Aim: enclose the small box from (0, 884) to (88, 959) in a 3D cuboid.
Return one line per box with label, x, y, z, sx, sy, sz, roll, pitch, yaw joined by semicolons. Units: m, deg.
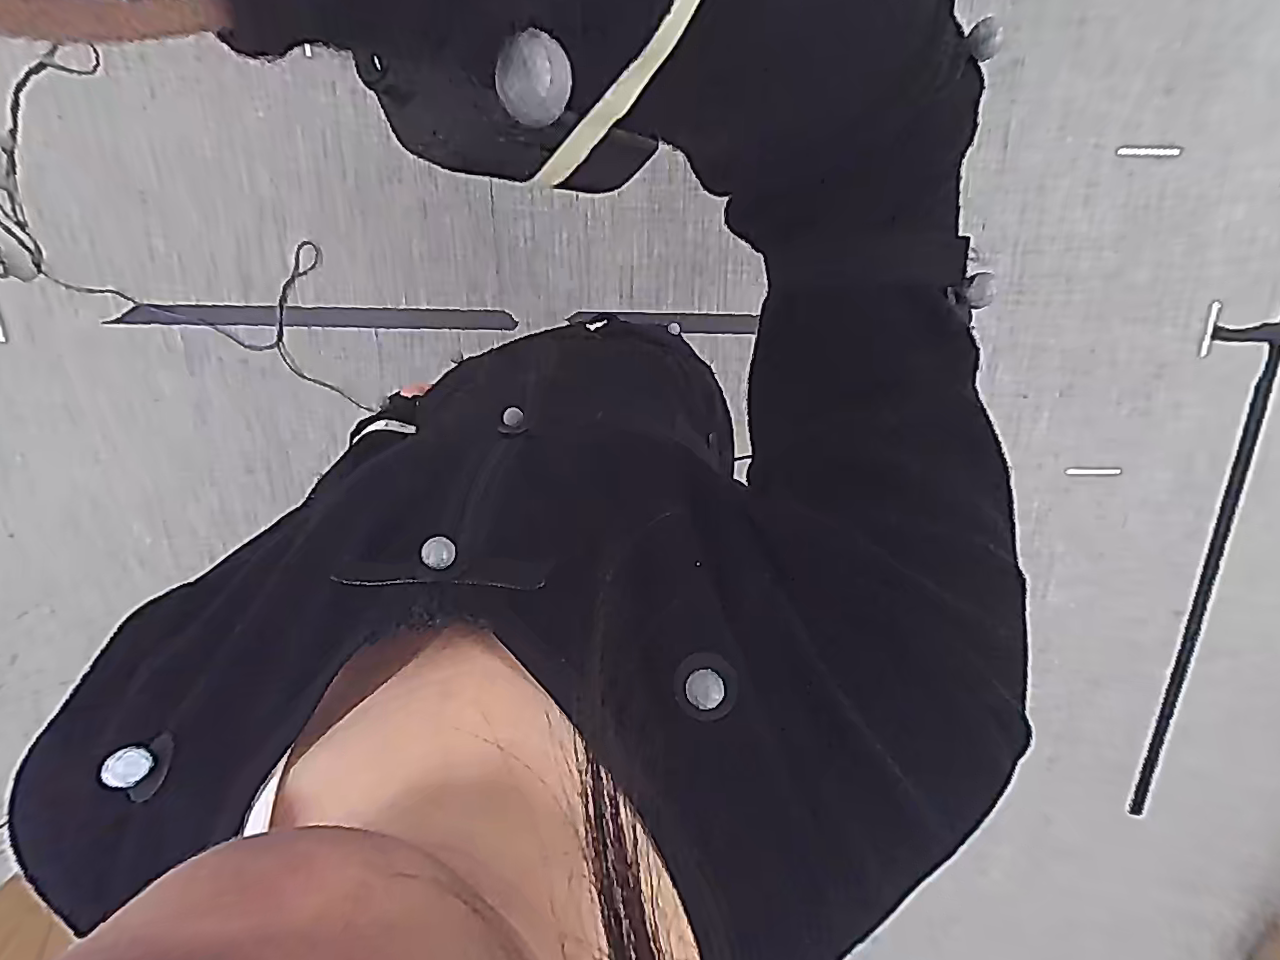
small box;-1.198;0.886;0.984;0.168;0.176;0.179;-39;102;9
